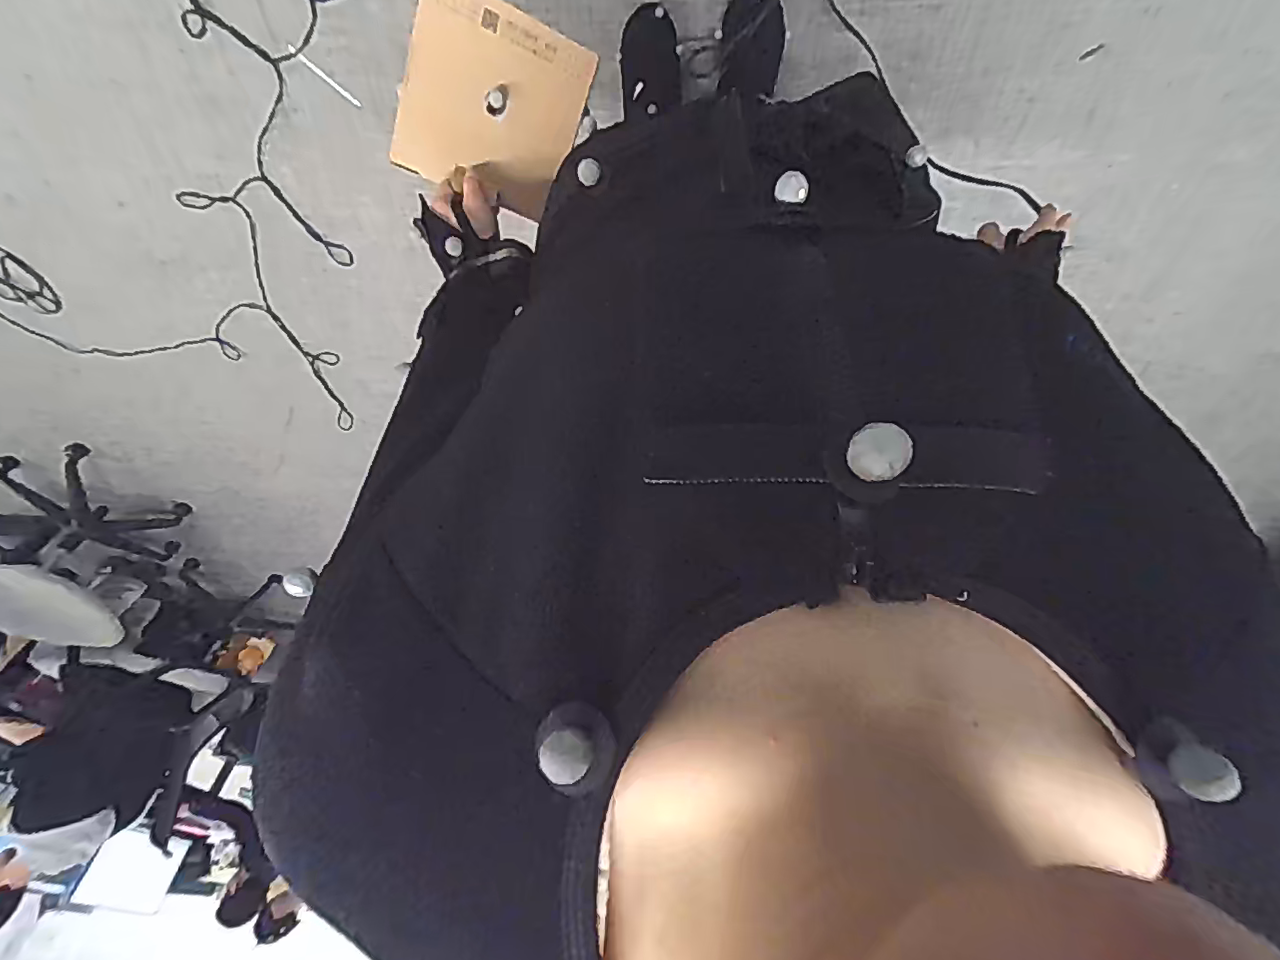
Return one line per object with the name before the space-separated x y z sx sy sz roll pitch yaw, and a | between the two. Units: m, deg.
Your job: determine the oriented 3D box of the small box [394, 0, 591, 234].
small box | -0.166 -0.398 0.608 0.168 0.179 0.176 14 112 -23
